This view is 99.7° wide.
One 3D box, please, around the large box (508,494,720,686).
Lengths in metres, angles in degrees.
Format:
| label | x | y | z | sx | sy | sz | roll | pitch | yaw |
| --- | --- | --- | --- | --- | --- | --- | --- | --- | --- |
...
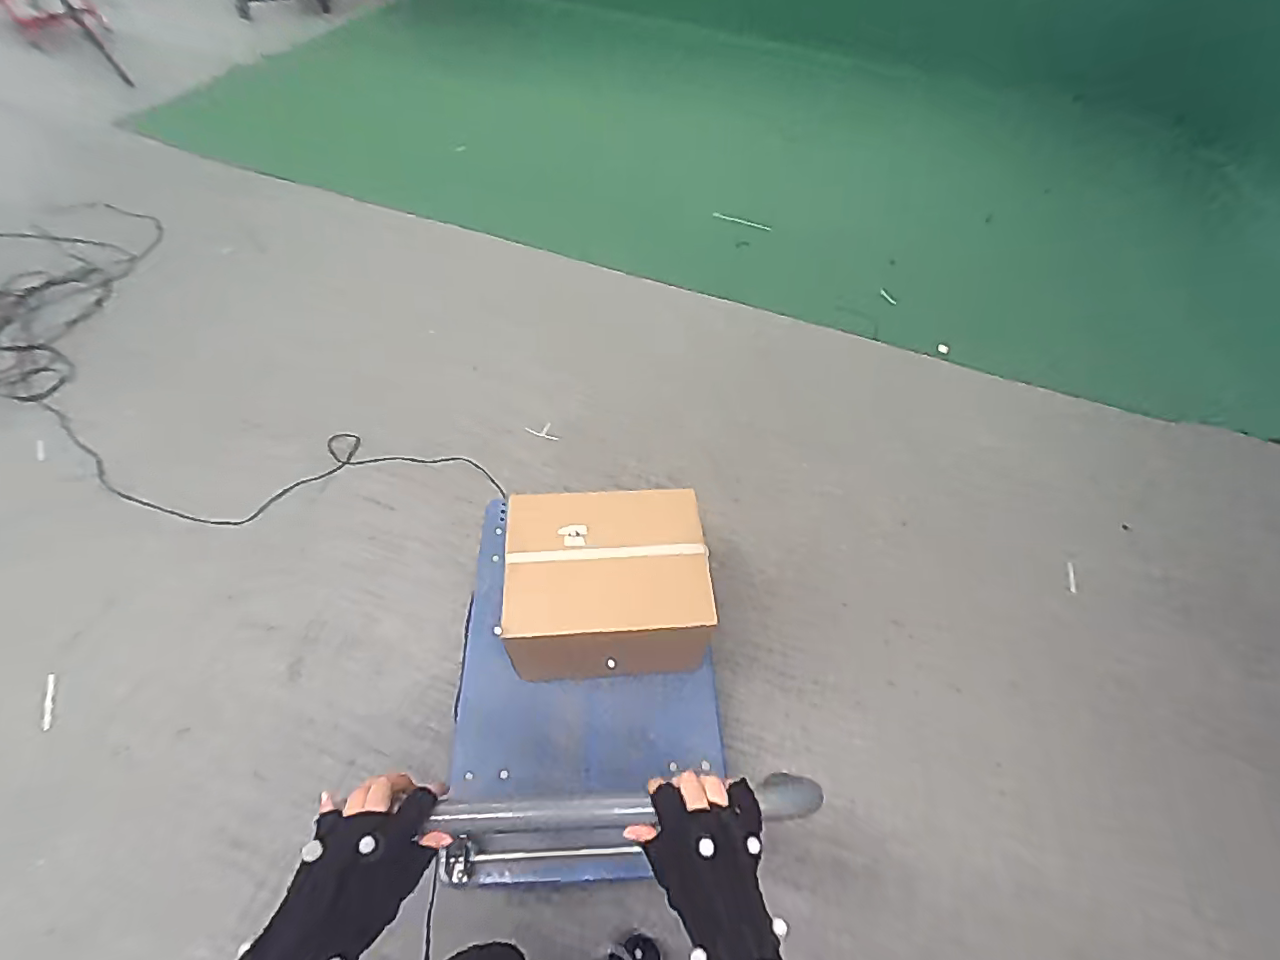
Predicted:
| label | x | y | z | sx | sy | sz | roll | pitch | yaw |
| --- | --- | --- | --- | --- | --- | --- | --- | --- | --- |
| large box | -0.065 | 0.254 | 1.212 | 0.408 | 0.320 | 0.320 | -3 | 54 | -5 |
